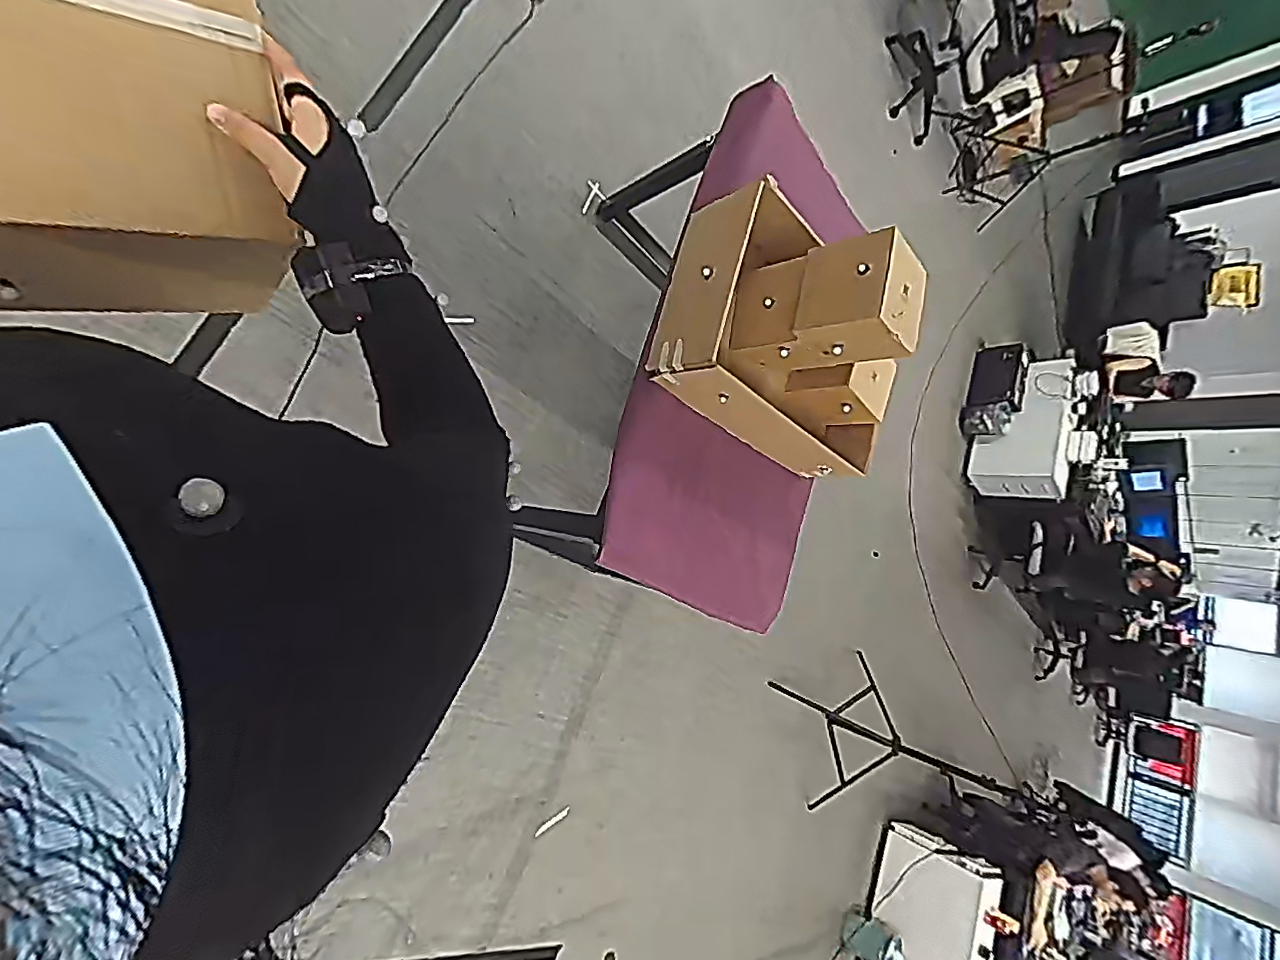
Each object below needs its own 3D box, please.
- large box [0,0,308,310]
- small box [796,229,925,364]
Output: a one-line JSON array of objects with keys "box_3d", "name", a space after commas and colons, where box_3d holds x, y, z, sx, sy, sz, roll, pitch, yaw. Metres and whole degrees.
[{"box_3d": [-0.551, -0.320, 0.432, 0.408, 0.320, 0.320, -15, 101, -39], "name": "large box"}, {"box_3d": [0.419, -0.337, 1.035, 0.168, 0.176, 0.179, 20, 80, -42], "name": "small box"}]
